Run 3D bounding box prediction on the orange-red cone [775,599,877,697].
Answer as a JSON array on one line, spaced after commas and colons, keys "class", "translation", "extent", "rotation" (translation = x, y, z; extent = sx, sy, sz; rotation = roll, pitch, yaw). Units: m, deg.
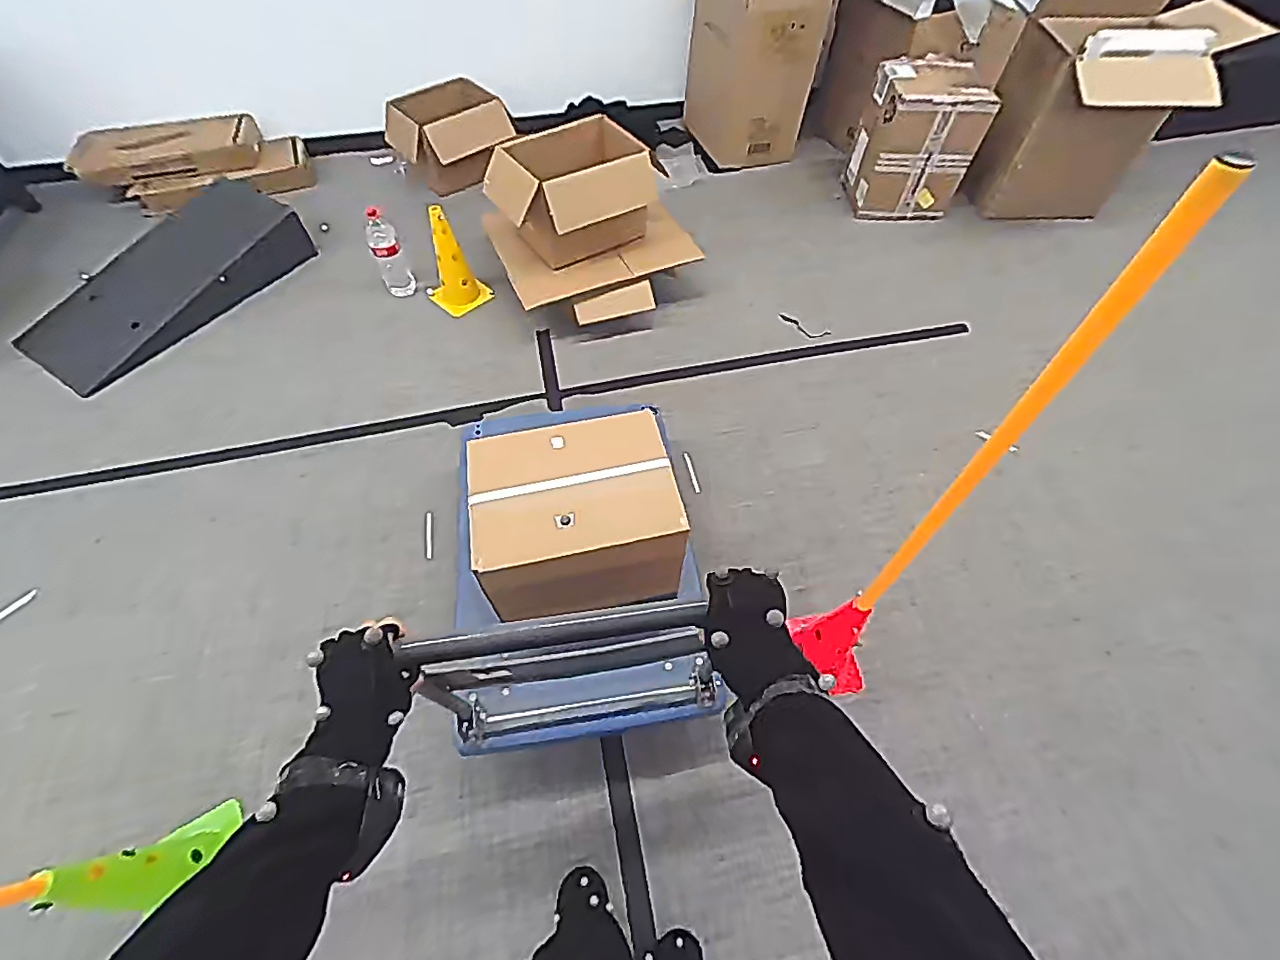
[{"class": "orange-red cone", "translation": [0.455, 0.349, 1.228], "extent": [0.199, 0.360, 0.198], "rotation": [-5, 57, -5]}]
